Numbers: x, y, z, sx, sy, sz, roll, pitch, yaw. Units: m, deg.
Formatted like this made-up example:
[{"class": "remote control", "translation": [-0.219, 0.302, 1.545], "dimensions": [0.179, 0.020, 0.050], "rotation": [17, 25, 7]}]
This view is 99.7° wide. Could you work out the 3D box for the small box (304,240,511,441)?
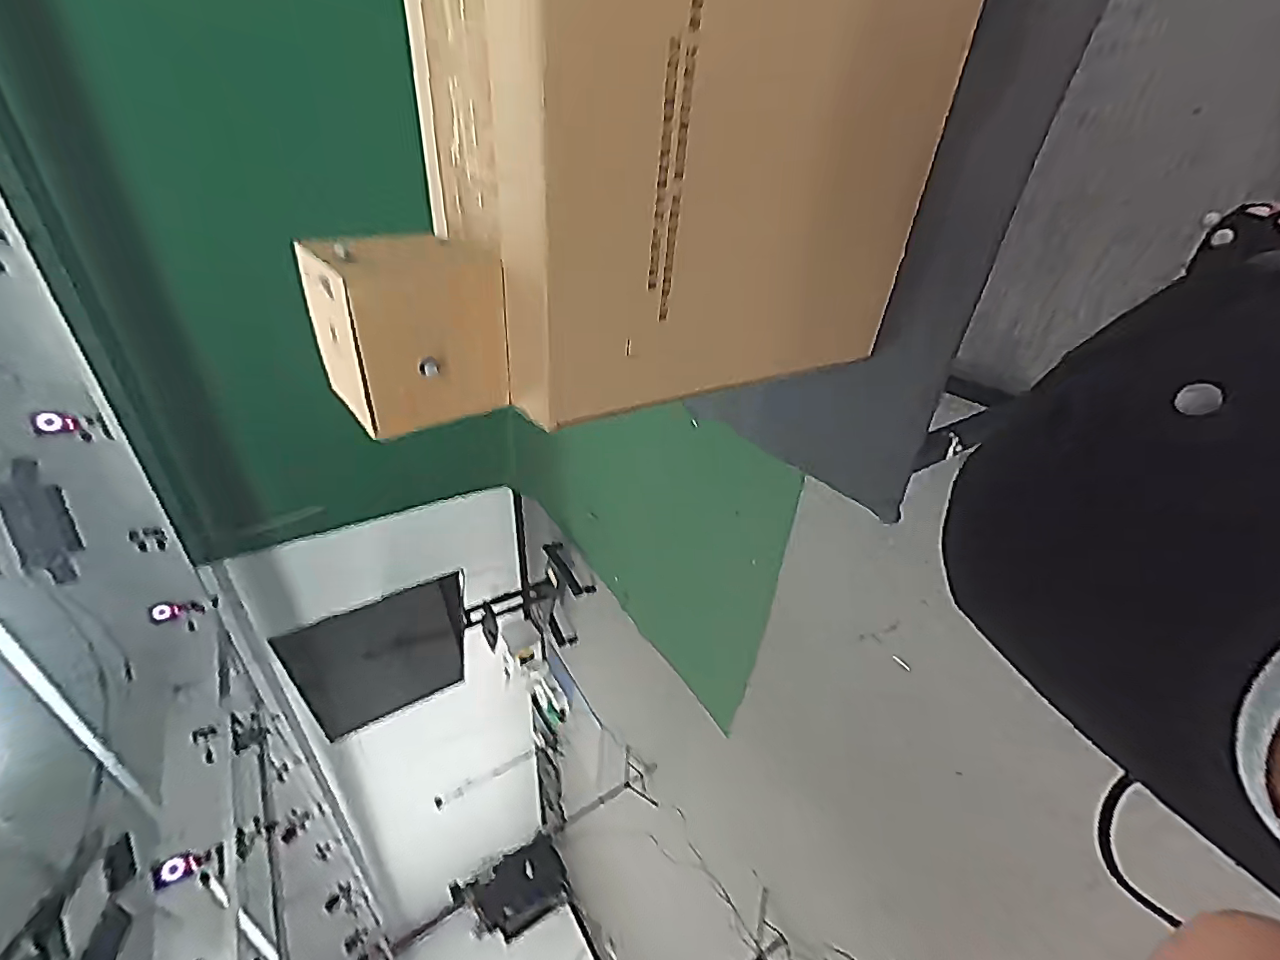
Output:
[{"class": "small box", "translation": [-0.268, -0.176, 0.650], "dimensions": [0.168, 0.176, 0.179], "rotation": [35, 134, 36]}]
